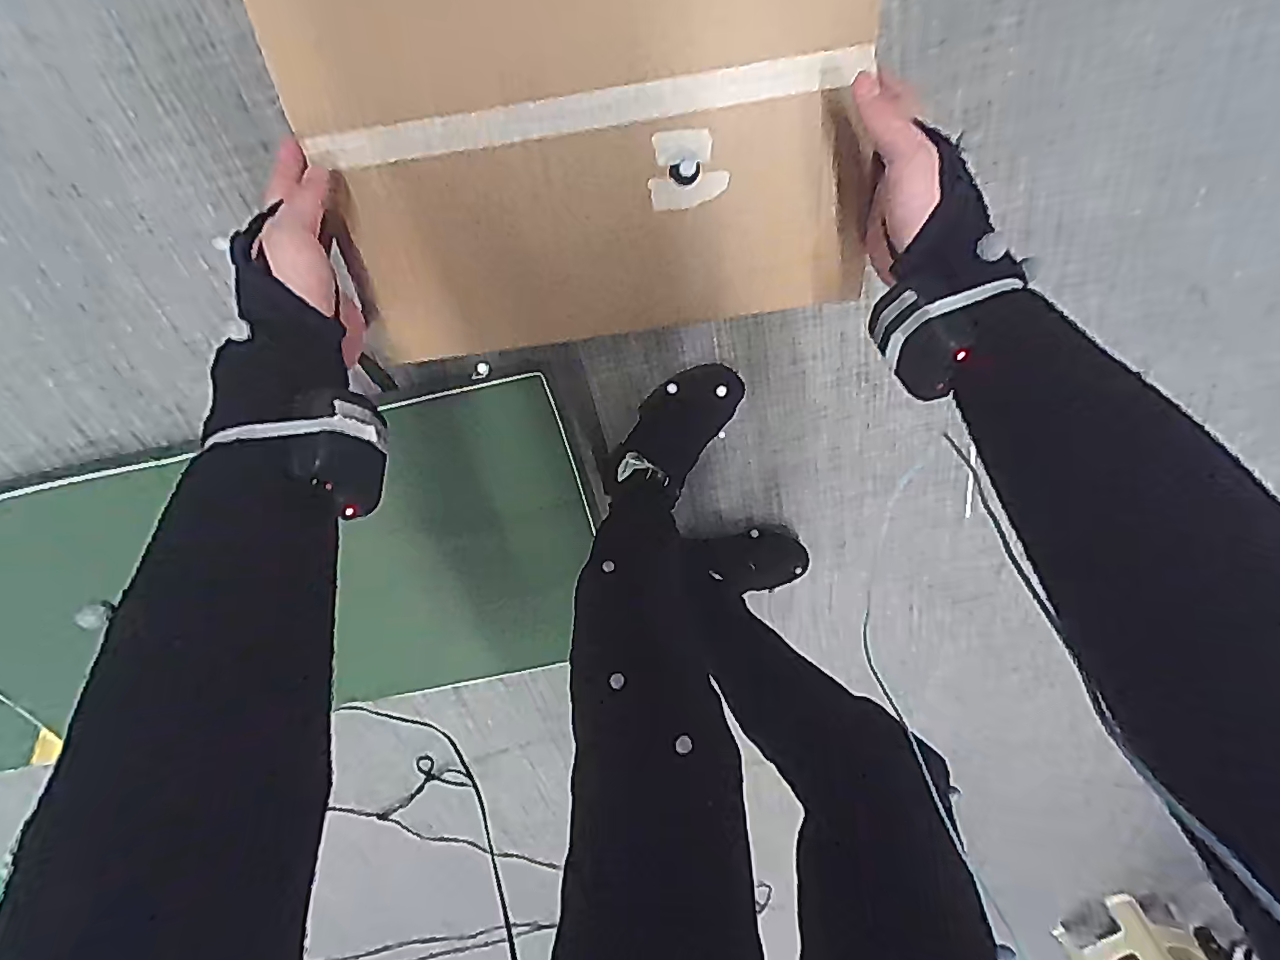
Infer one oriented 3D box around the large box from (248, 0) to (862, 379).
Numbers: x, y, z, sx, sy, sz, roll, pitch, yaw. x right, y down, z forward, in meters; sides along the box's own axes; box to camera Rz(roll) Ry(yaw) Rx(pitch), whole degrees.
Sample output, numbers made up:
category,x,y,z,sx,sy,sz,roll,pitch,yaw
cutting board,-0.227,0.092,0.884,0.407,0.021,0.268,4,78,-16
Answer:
category,x,y,z,sx,sy,sz,roll,pitch,yaw
large box,-0.049,-0.319,0.520,0.408,0.320,0.320,-8,120,2
